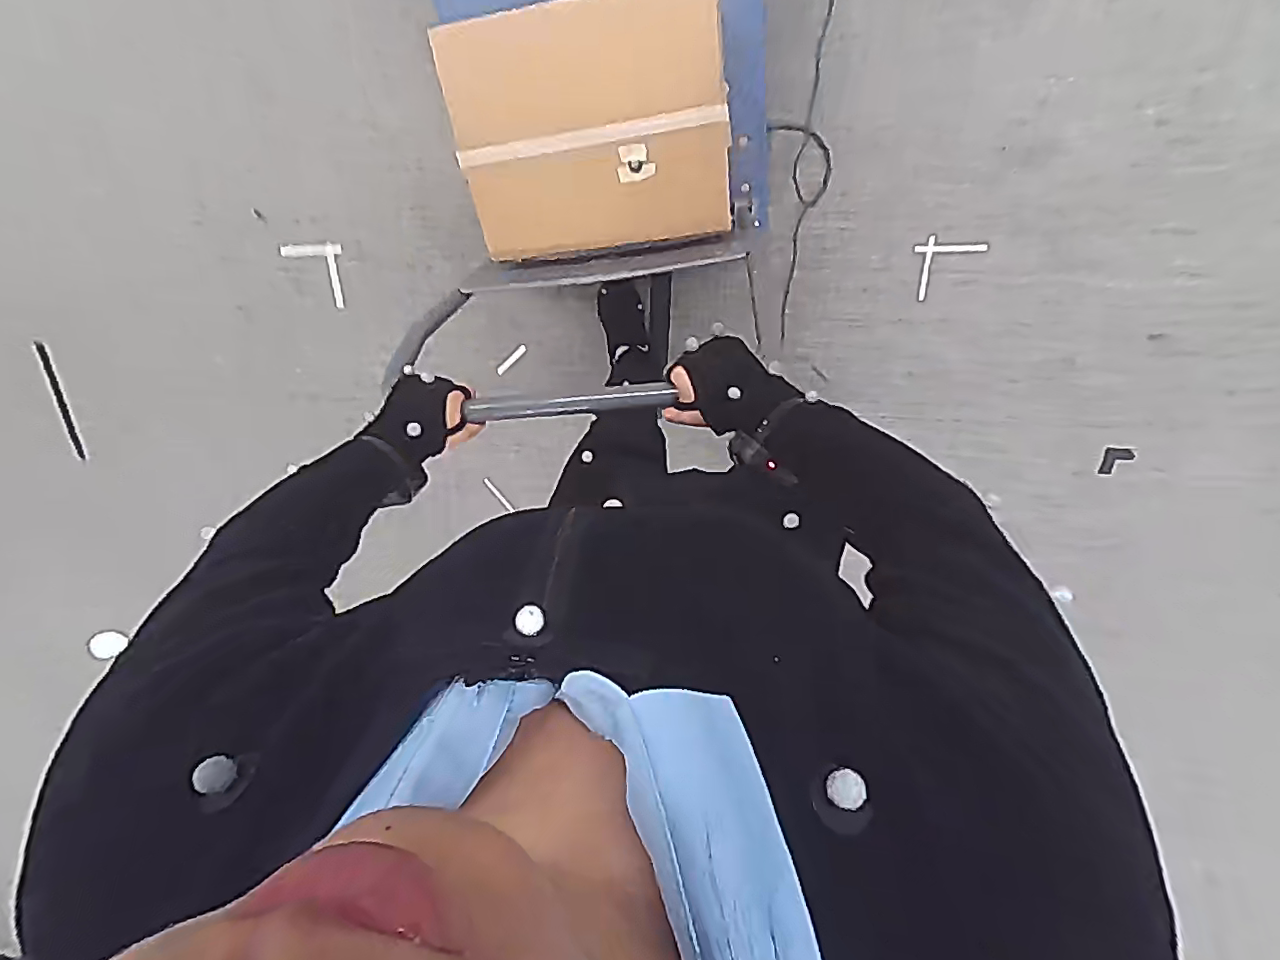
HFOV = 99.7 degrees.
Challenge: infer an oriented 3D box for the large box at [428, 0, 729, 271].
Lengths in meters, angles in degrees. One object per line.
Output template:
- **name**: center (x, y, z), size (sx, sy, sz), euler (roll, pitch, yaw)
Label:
- **large box**: center (-0.067, -0.576, 0.922), size (0.408, 0.320, 0.320), euler (-4, 124, 10)
